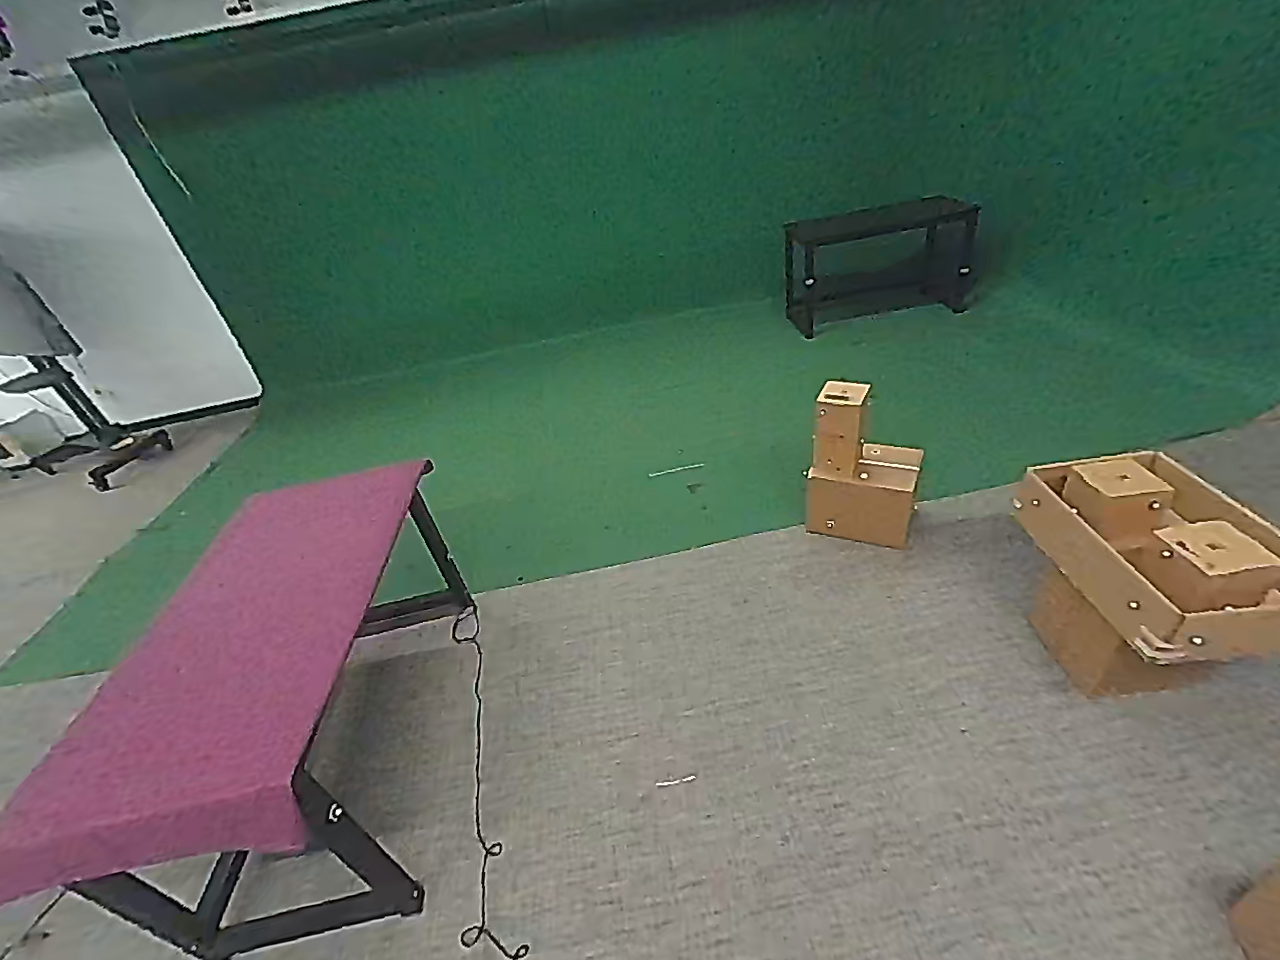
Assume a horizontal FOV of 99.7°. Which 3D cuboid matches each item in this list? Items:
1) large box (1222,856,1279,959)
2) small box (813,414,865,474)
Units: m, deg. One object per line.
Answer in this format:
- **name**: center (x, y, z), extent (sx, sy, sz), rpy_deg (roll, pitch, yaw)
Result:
- **large box**: center (1.373, 0.967, 0.938), extent (0.320, 0.320, 0.408), rpy_deg (2, 36, 18)
- **small box**: center (0.825, -0.150, 2.248), extent (0.168, 0.176, 0.179), rpy_deg (13, 43, 28)
